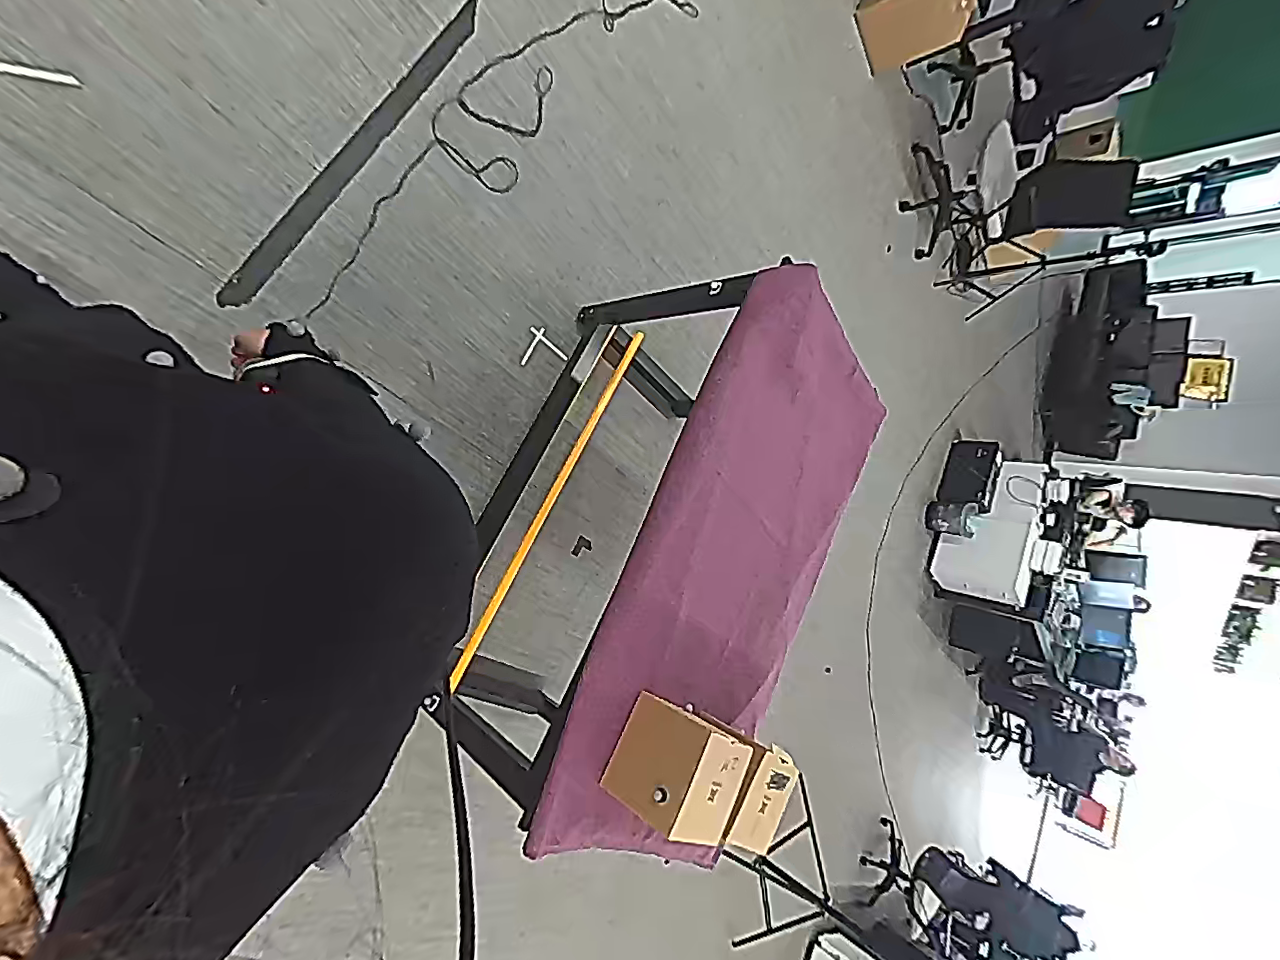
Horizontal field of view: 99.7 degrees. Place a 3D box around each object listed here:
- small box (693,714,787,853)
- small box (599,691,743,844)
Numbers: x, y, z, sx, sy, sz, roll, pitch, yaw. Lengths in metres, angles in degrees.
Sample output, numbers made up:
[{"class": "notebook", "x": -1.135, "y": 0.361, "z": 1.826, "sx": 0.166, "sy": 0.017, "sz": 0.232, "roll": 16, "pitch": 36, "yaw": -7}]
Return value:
[{"class": "small box", "x": 0.168, "y": 0.612, "z": 1.107, "sx": 0.168, "sy": 0.176, "sz": 0.179, "roll": 47, "pitch": 66, "yaw": -37}, {"class": "small box", "x": 0.052, "y": 0.514, "z": 0.976, "sx": 0.168, "sy": 0.176, "sz": 0.179, "roll": 43, "pitch": 66, "yaw": -42}]
